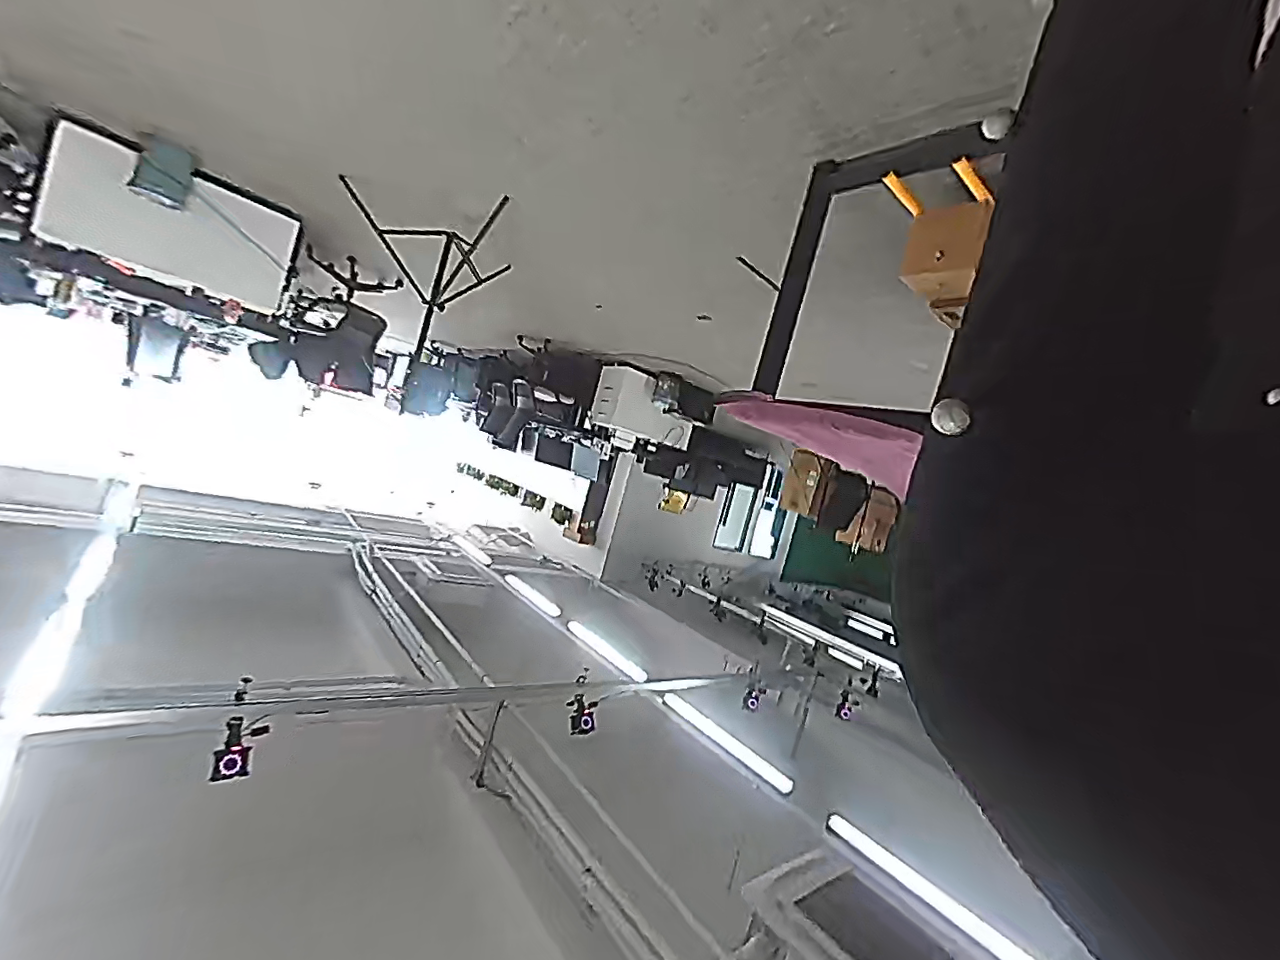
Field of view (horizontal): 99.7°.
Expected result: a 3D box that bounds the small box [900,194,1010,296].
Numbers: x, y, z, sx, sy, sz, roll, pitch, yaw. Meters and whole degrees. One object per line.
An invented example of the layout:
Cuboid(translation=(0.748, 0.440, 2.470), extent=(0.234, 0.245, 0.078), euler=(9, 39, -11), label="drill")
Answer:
Cuboid(translation=(0.797, -0.588, 1.369), extent=(0.168, 0.176, 0.179), euler=(13, -179, -39), label="small box")
